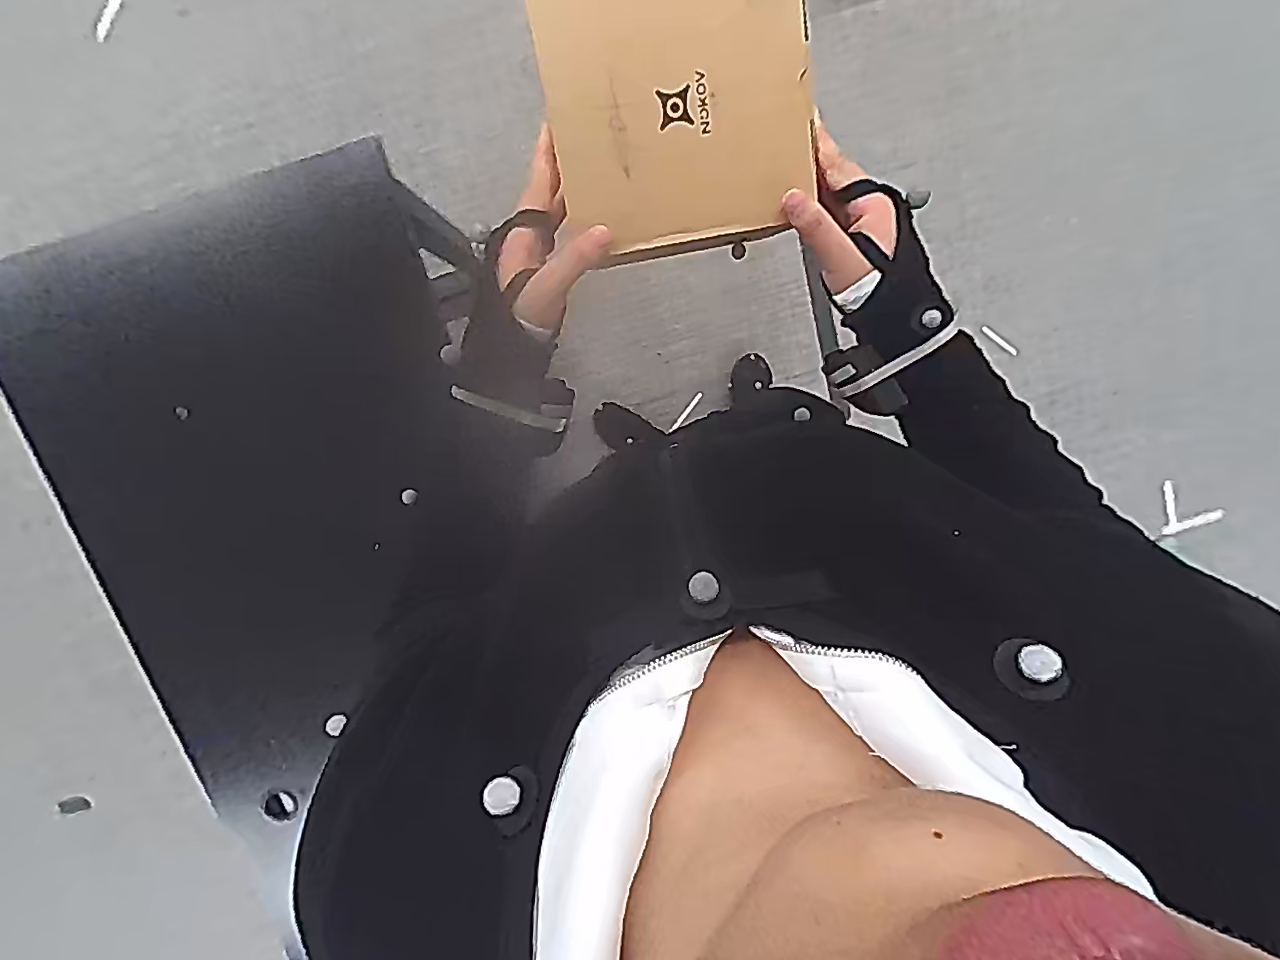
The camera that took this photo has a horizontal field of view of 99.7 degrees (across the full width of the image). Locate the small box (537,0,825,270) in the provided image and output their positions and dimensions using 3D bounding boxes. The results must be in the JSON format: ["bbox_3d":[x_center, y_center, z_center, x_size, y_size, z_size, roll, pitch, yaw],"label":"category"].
[{"bbox_3d":[0.030,-0.271,0.433,0.179,0.176,0.168,-10,108,2],"label":"small box"}]
